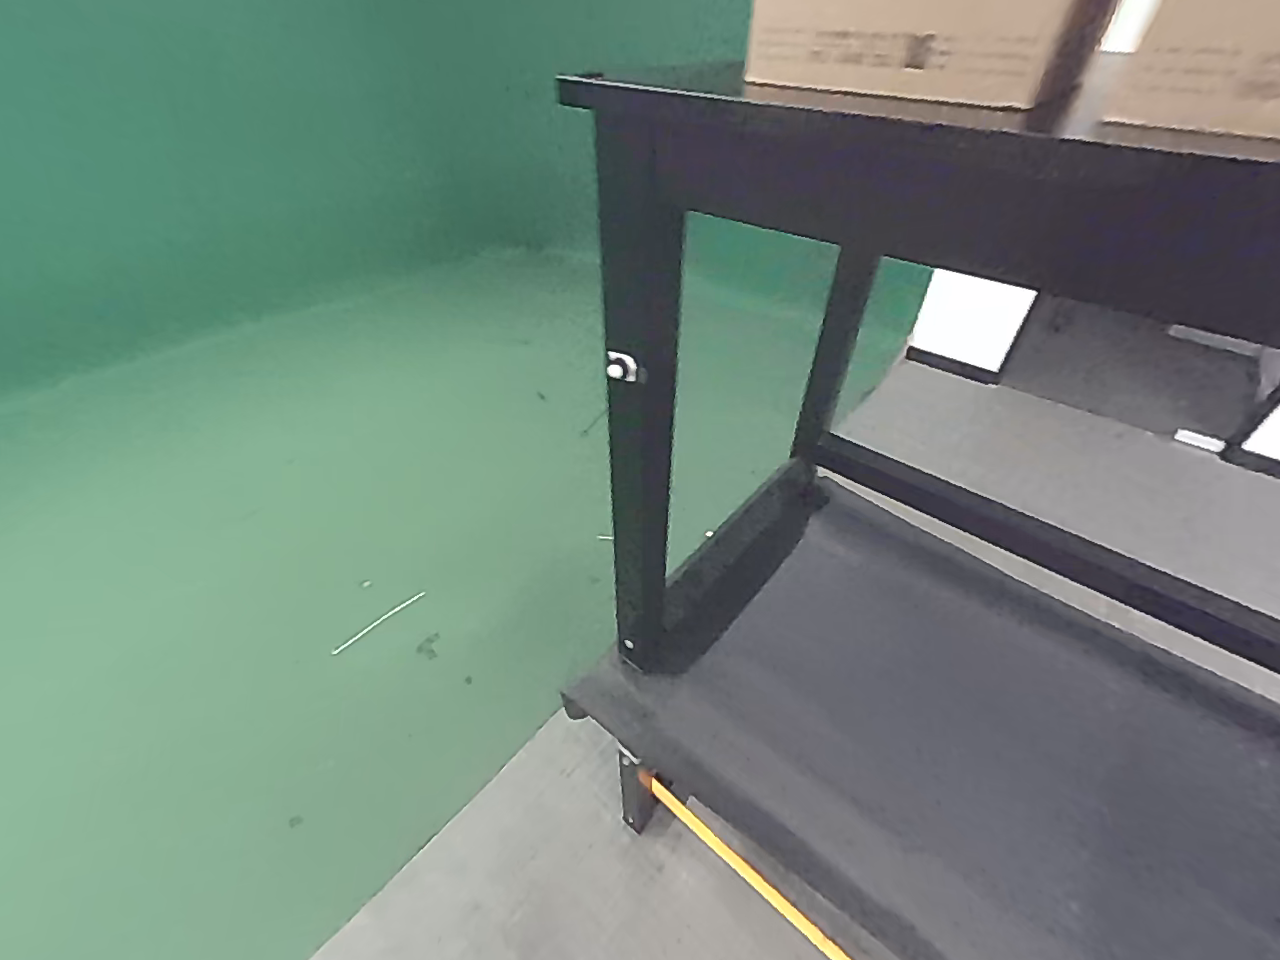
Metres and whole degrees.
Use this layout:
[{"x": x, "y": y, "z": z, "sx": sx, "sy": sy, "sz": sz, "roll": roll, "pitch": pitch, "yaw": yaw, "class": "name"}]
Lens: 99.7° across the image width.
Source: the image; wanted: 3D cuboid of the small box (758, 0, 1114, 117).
[{"x": 0.183, "y": -0.320, "z": 0.308, "sx": 0.168, "sy": 0.176, "sz": 0.179, "roll": 30, "pitch": 49, "yaw": 28, "class": "small box"}]
